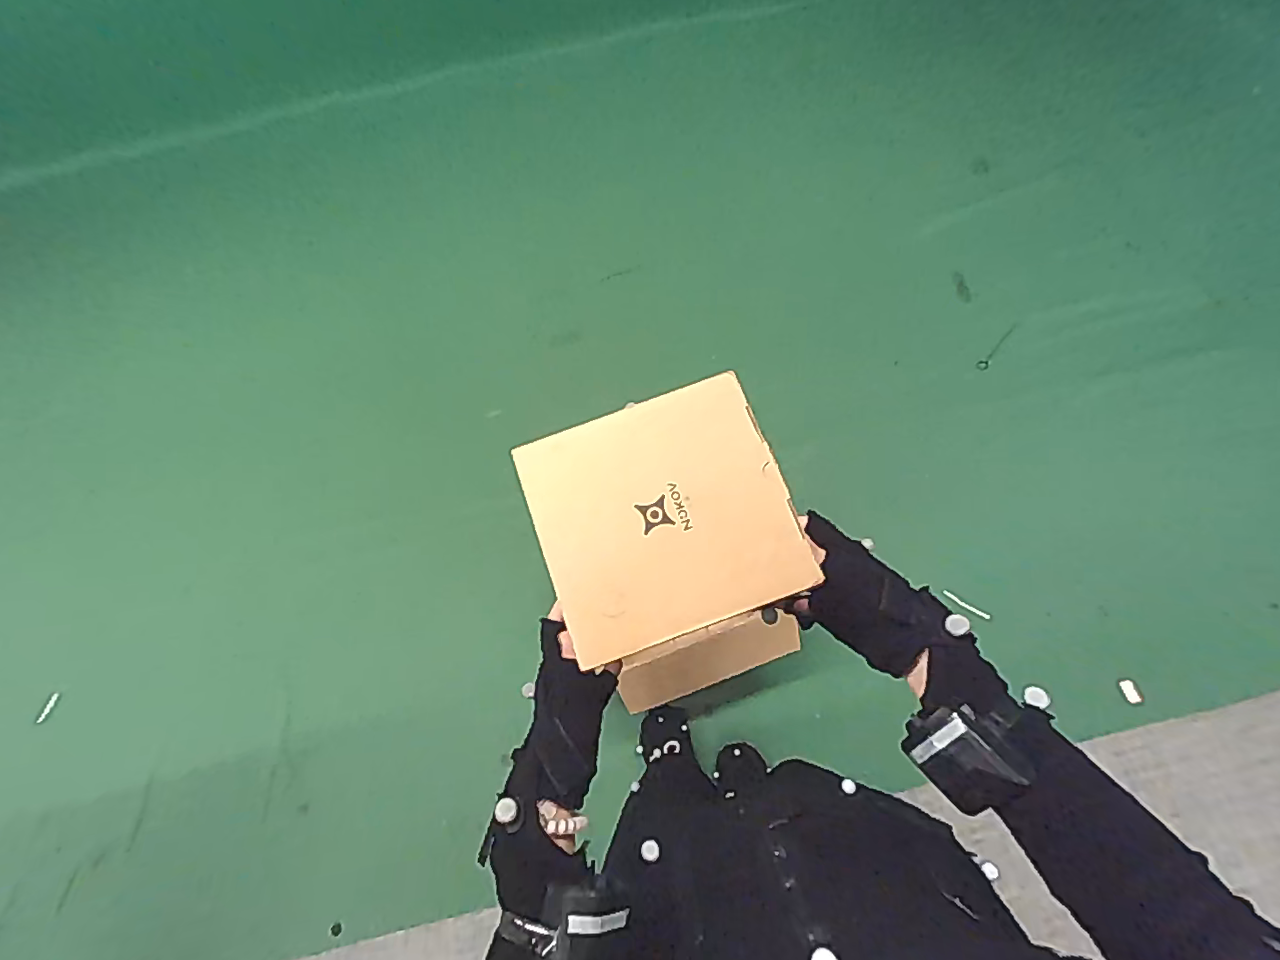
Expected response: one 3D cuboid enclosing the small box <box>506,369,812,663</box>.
[{"bbox_3d":[0.015,0.040,0.452,0.179,0.176,0.168,-20,76,-1],"label":"small box"}]
